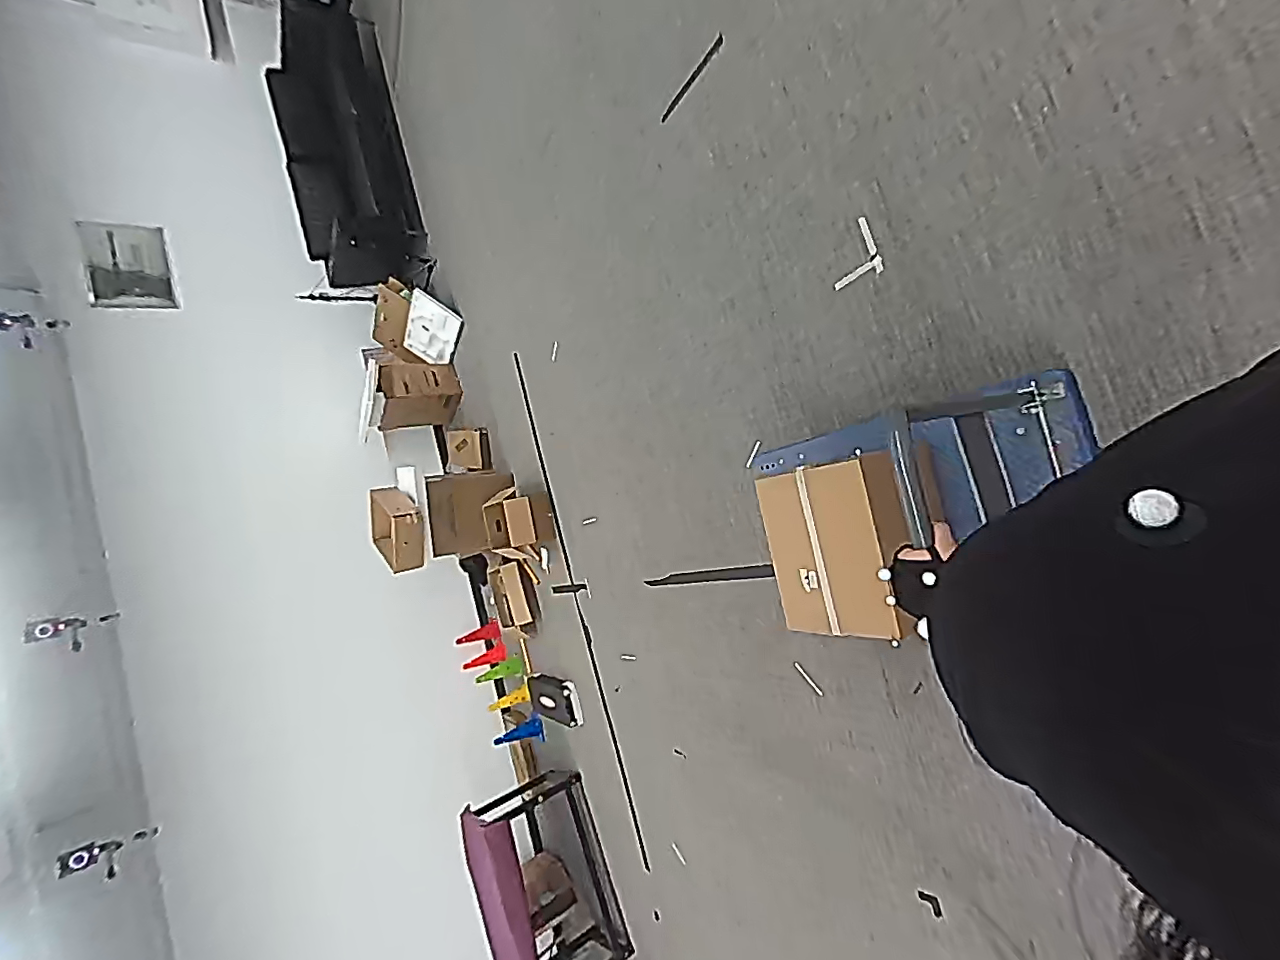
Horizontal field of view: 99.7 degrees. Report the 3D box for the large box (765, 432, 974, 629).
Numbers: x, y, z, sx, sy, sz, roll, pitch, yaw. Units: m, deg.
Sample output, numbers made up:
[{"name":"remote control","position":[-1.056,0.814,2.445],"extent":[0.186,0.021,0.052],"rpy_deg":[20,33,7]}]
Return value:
[{"name":"large box","position":[0.573,0.122,1.364],"extent":[0.320,0.320,0.408],"rpy_deg":[-15,88,56]}]
